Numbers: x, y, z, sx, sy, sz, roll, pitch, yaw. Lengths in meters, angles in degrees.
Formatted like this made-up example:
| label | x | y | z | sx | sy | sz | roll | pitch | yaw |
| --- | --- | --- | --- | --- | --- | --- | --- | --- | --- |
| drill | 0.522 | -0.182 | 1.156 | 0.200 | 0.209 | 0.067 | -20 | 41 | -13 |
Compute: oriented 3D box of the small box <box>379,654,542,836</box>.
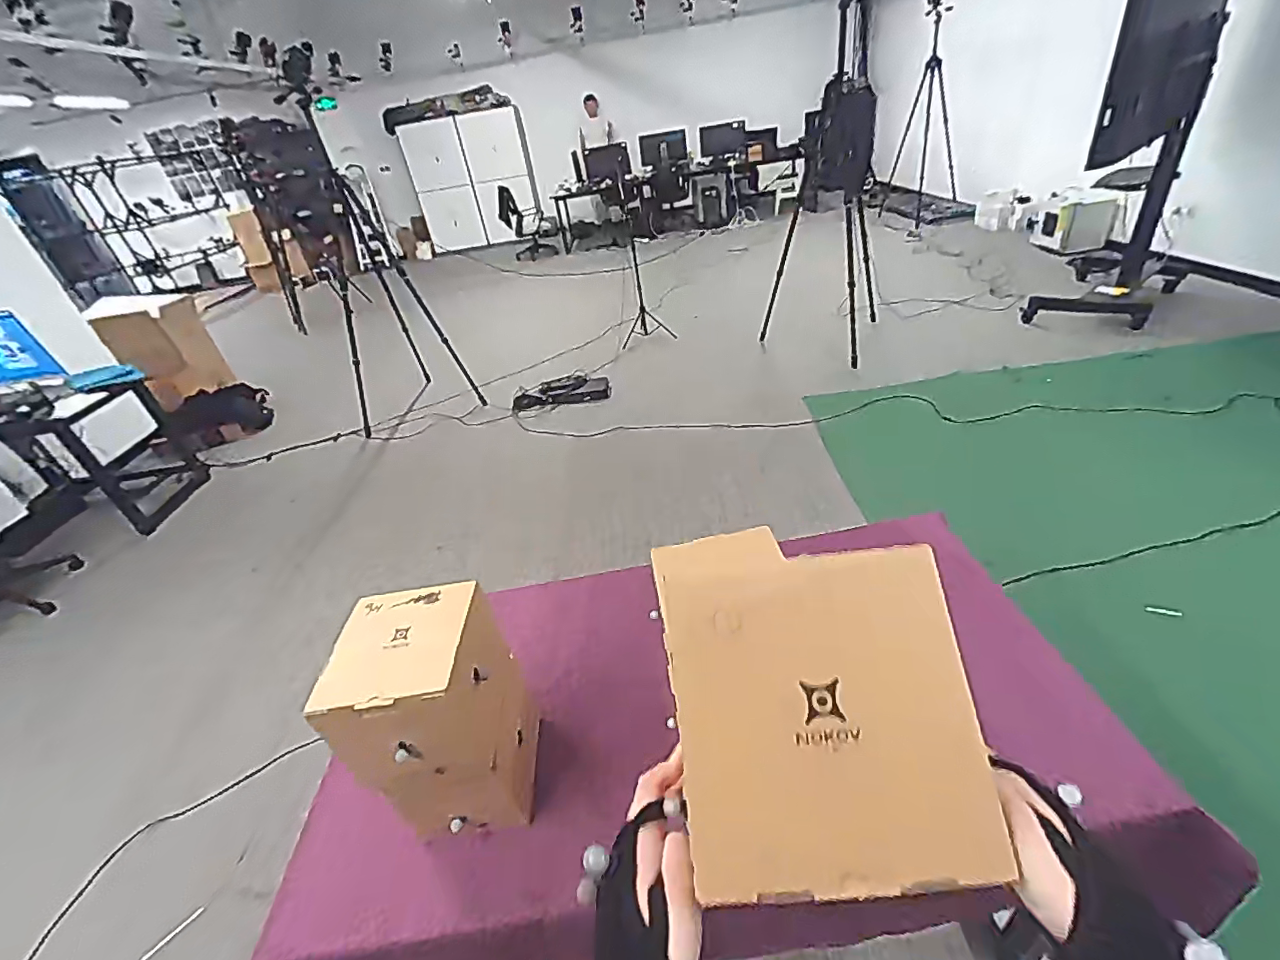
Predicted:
| label | x | y | z | sx | sy | sz | roll | pitch | yaw |
| --- | --- | --- | --- | --- | --- | --- | --- | --- | --- |
| small box | -0.250 | 0.392 | 0.806 | 0.168 | 0.176 | 0.179 | -10 | 35 | 2 |

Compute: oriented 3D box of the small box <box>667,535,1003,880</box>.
| label | x | y | z | sx | sy | sz | roll | pitch | yaw |
| --- | --- | --- | --- | --- | --- | --- | --- | --- | --- |
| small box | 0.108 | 0.149 | 0.389 | 0.168 | 0.176 | 0.179 | -7 | 72 | 3 |

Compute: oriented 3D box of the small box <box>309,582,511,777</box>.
| label | x | y | z | sx | sy | sz | roll | pitch | yaw |
| --- | --- | --- | --- | --- | --- | --- | --- | --- | --- |
| small box | -0.279 | 0.264 | 0.707 | 0.168 | 0.176 | 0.179 | -9 | 35 | 2 |

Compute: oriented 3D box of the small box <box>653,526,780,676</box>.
| label | x | y | z | sx | sy | sz | roll | pitch | yaw |
| --- | --- | --- | --- | --- | --- | --- | --- | --- | --- |
| small box | 0.116 | 0.189 | 0.706 | 0.168 | 0.176 | 0.179 | -12 | 35 | 0 |
